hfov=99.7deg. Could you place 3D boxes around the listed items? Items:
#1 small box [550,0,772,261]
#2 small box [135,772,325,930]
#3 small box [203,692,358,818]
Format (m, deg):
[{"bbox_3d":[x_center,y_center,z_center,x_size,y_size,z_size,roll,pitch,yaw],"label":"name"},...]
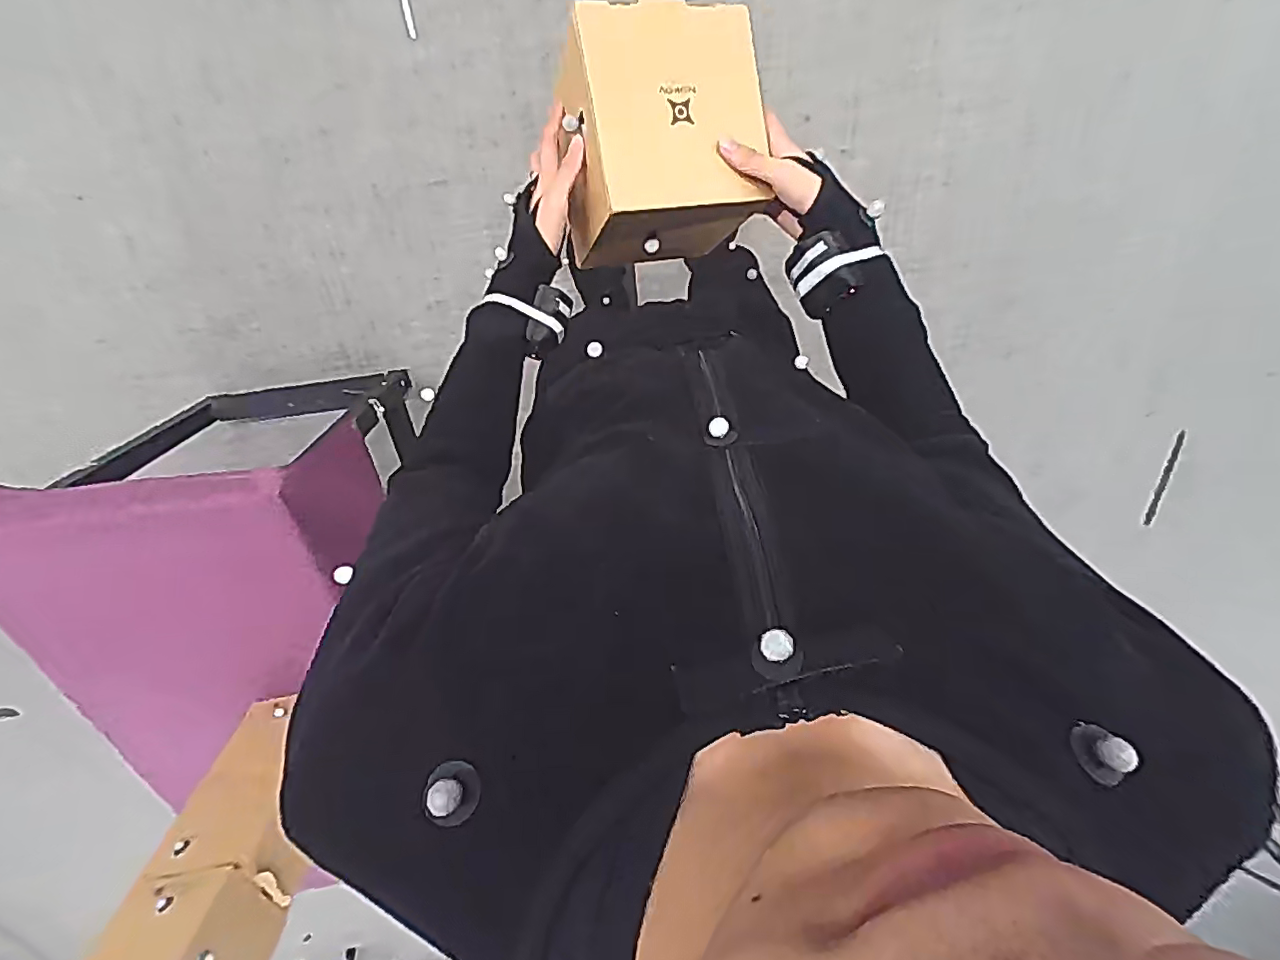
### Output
[{"bbox_3d":[0.011,-0.338,0.553,0.168,0.176,0.179,-13,96,-15],"label":"small box"},{"bbox_3d":[-0.698,0.642,0.946,0.179,0.176,0.168,-6,120,-1],"label":"small box"},{"bbox_3d":[-0.705,0.561,1.090,0.168,0.176,0.179,-11,119,1],"label":"small box"}]
